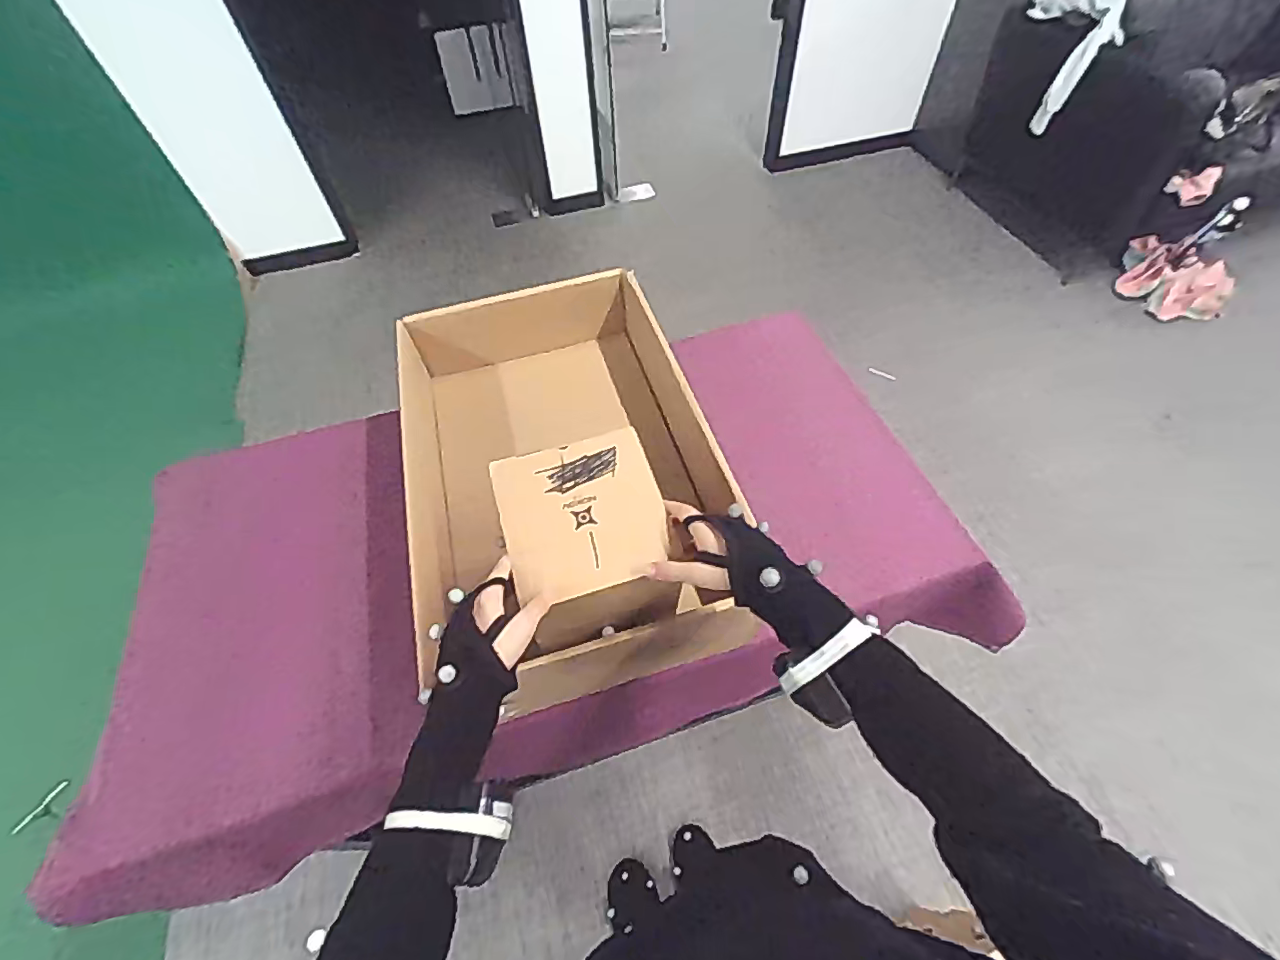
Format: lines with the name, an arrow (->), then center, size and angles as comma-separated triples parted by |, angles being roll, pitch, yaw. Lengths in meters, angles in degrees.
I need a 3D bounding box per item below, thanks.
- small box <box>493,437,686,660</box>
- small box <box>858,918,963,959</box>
small box -> -0.059, 0.082, 0.620 | 0.168, 0.176, 0.179 | -16, 60, -10
small box -> 0.535, 0.959, 1.011 | 0.179, 0.176, 0.168 | -20, 56, -12
